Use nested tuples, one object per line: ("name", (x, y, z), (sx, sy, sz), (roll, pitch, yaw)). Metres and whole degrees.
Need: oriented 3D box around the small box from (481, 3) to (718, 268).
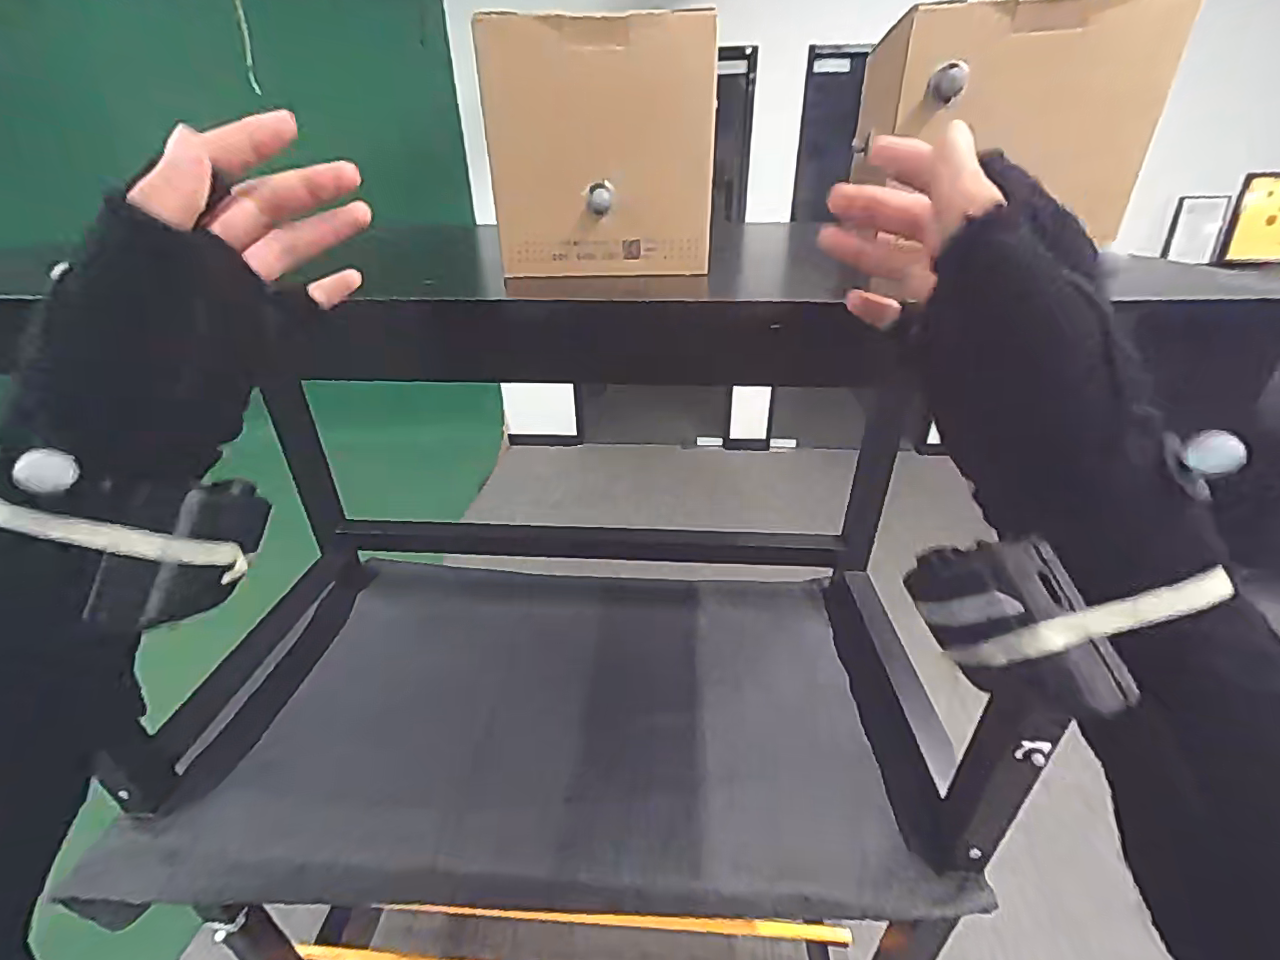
("small box", (-0.027, -0.288, 0.476), (0.168, 0.176, 0.179), (-1, 29, 0))
